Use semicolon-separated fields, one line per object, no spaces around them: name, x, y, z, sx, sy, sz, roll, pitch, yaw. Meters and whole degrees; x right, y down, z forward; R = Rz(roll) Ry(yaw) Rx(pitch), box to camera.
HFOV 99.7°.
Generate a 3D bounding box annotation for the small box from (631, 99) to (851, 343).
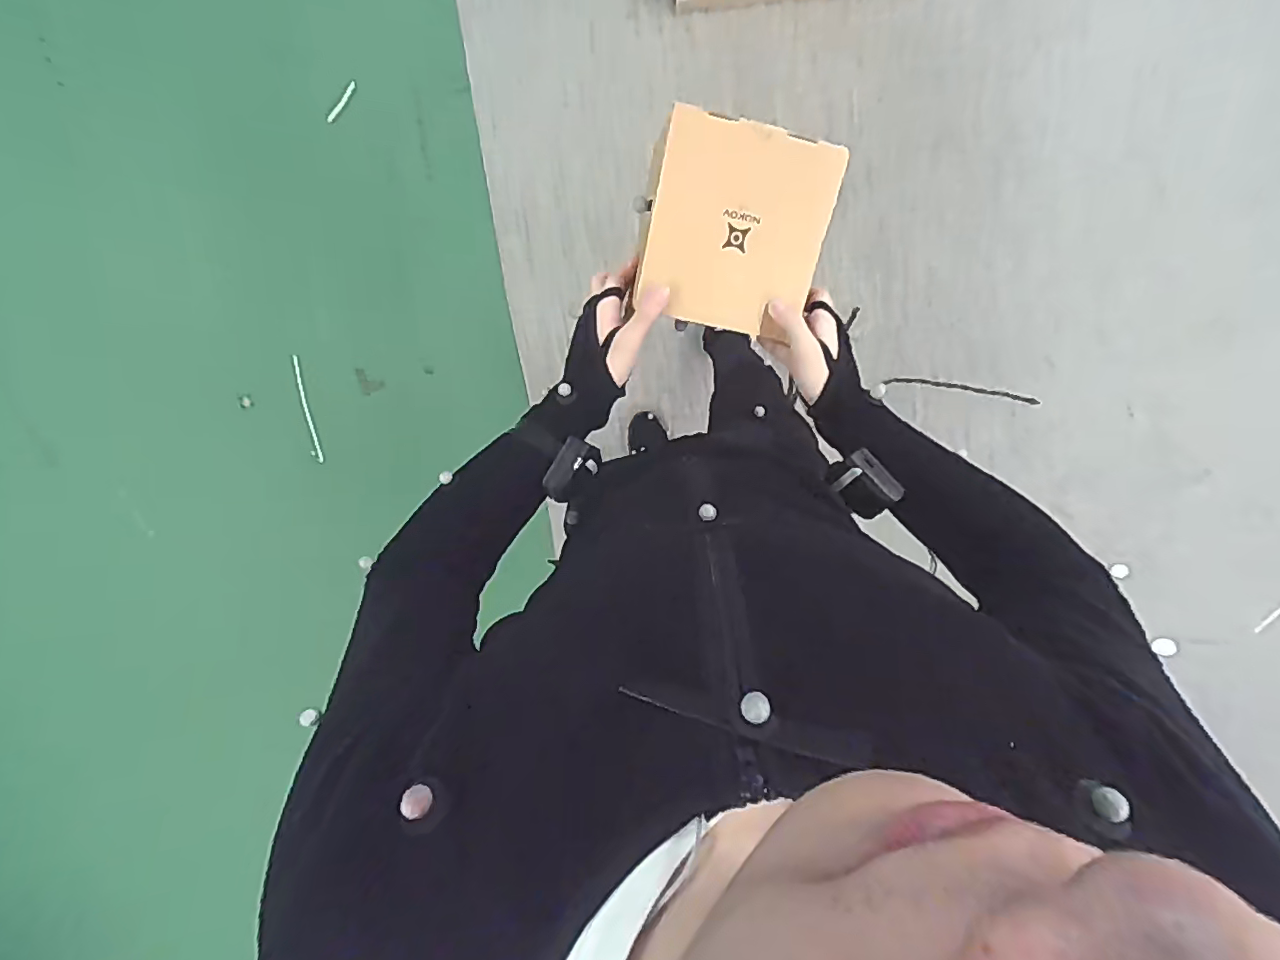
small box;0.087;-0.258;0.572;0.168;0.176;0.179;11;109;-8
